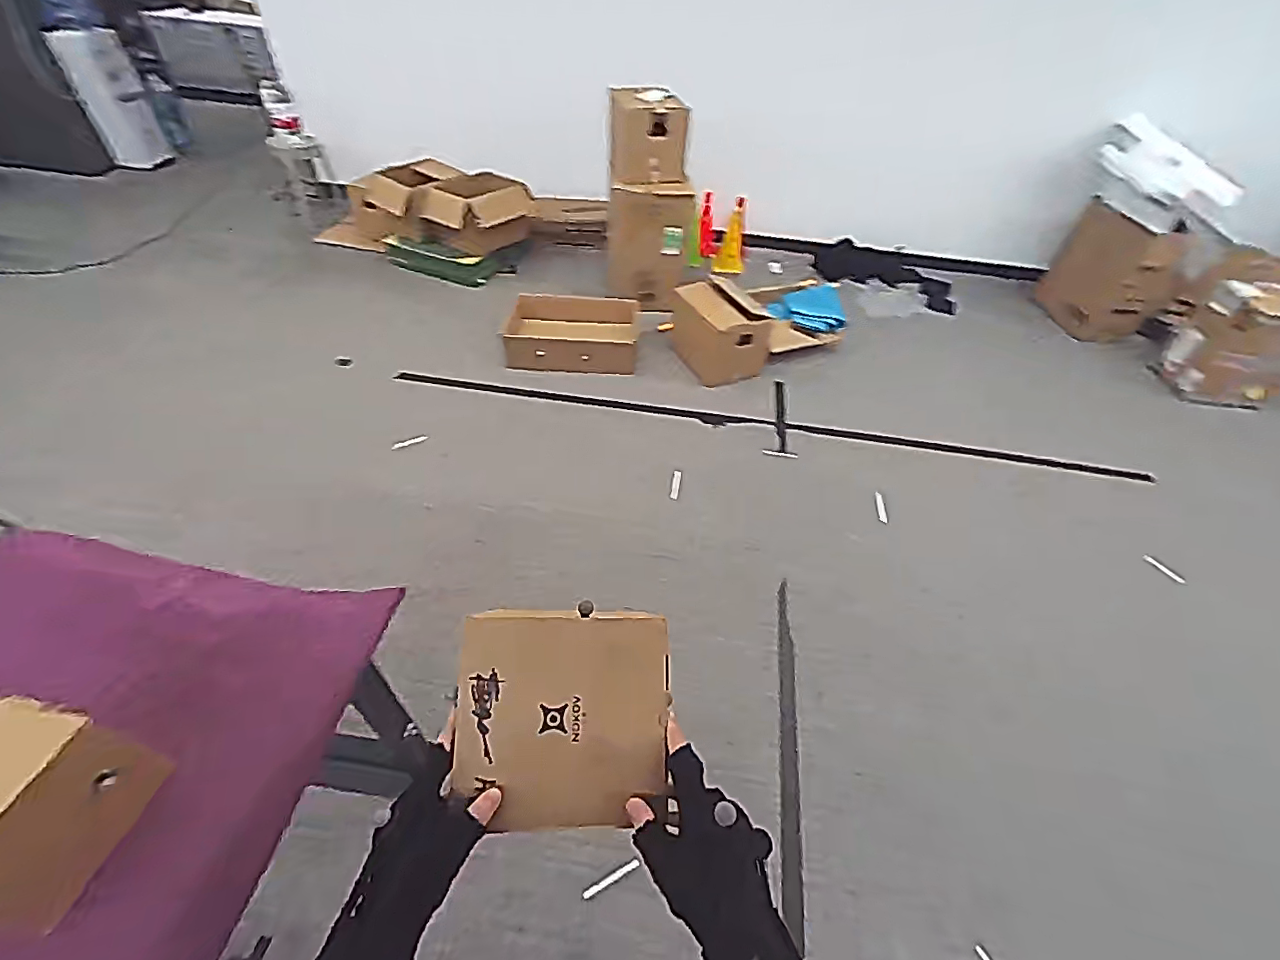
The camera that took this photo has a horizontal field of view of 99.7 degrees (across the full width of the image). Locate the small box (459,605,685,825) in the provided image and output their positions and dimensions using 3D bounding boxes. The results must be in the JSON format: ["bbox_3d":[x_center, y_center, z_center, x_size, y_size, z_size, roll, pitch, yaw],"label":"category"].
[{"bbox_3d":[-0.059,0.207,0.516,0.179,0.176,0.168,3,76,-6],"label":"small box"}]

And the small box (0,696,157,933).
[{"bbox_3d":[-0.689,0.356,0.585,0.168,0.176,0.179,9,47,7],"label":"small box"}]
